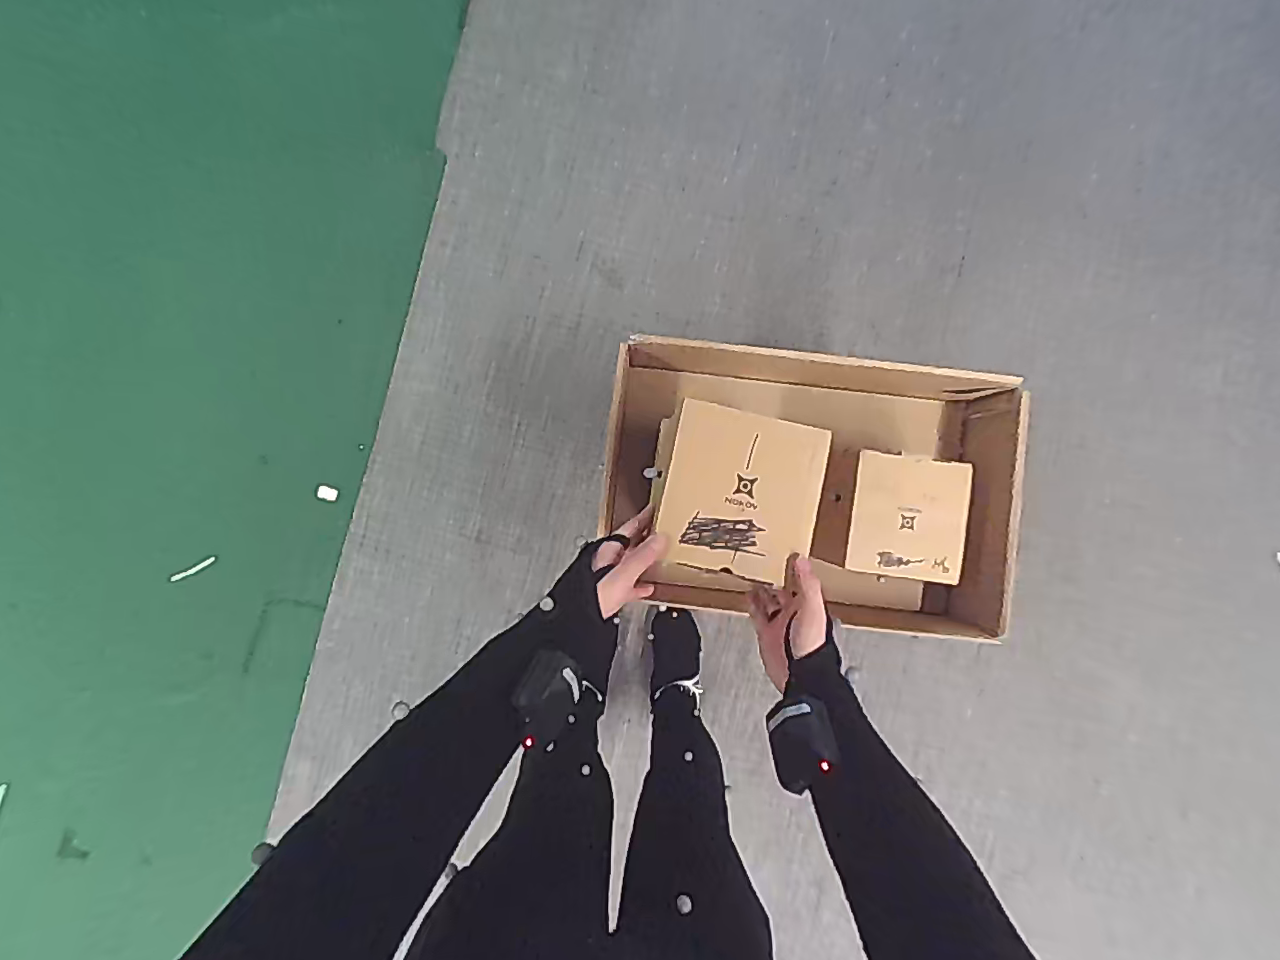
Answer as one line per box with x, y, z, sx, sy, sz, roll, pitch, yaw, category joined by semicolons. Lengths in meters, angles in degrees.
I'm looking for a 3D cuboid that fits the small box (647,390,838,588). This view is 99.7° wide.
0.106;0.015;0.636;0.168;0.176;0.179;14;85;-3;small box
